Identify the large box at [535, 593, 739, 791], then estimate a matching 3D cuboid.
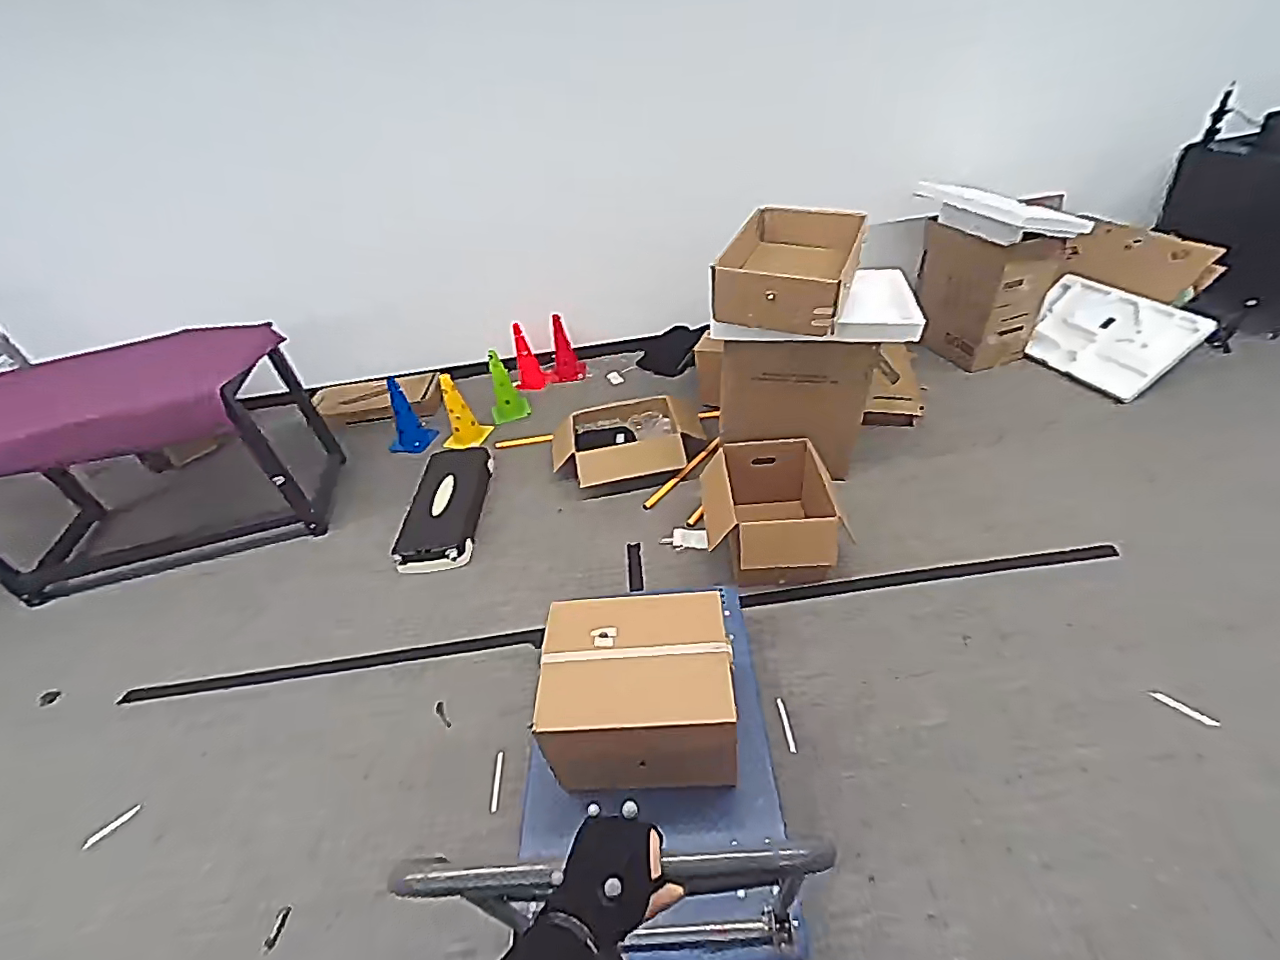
[{"bbox_3d":[0.006,0.500,1.268,0.408,0.320,0.320,-6,39,5],"label":"large box"}]
